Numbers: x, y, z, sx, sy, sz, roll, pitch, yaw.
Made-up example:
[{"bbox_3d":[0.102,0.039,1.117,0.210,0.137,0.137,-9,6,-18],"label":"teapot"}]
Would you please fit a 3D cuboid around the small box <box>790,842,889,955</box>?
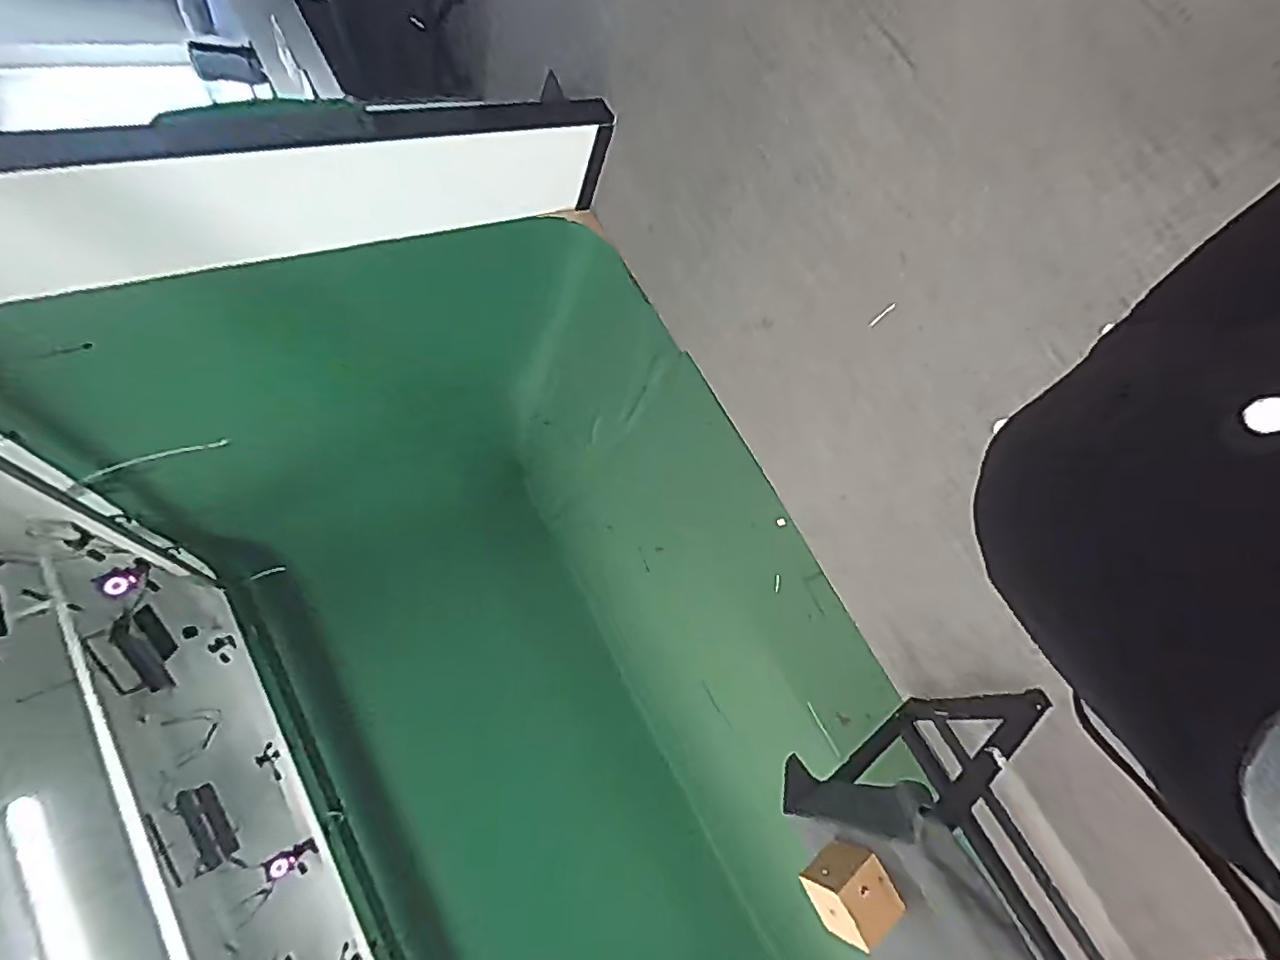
[{"bbox_3d":[0.573,1.176,1.538,0.168,0.176,0.179,62,152,9],"label":"small box"}]
